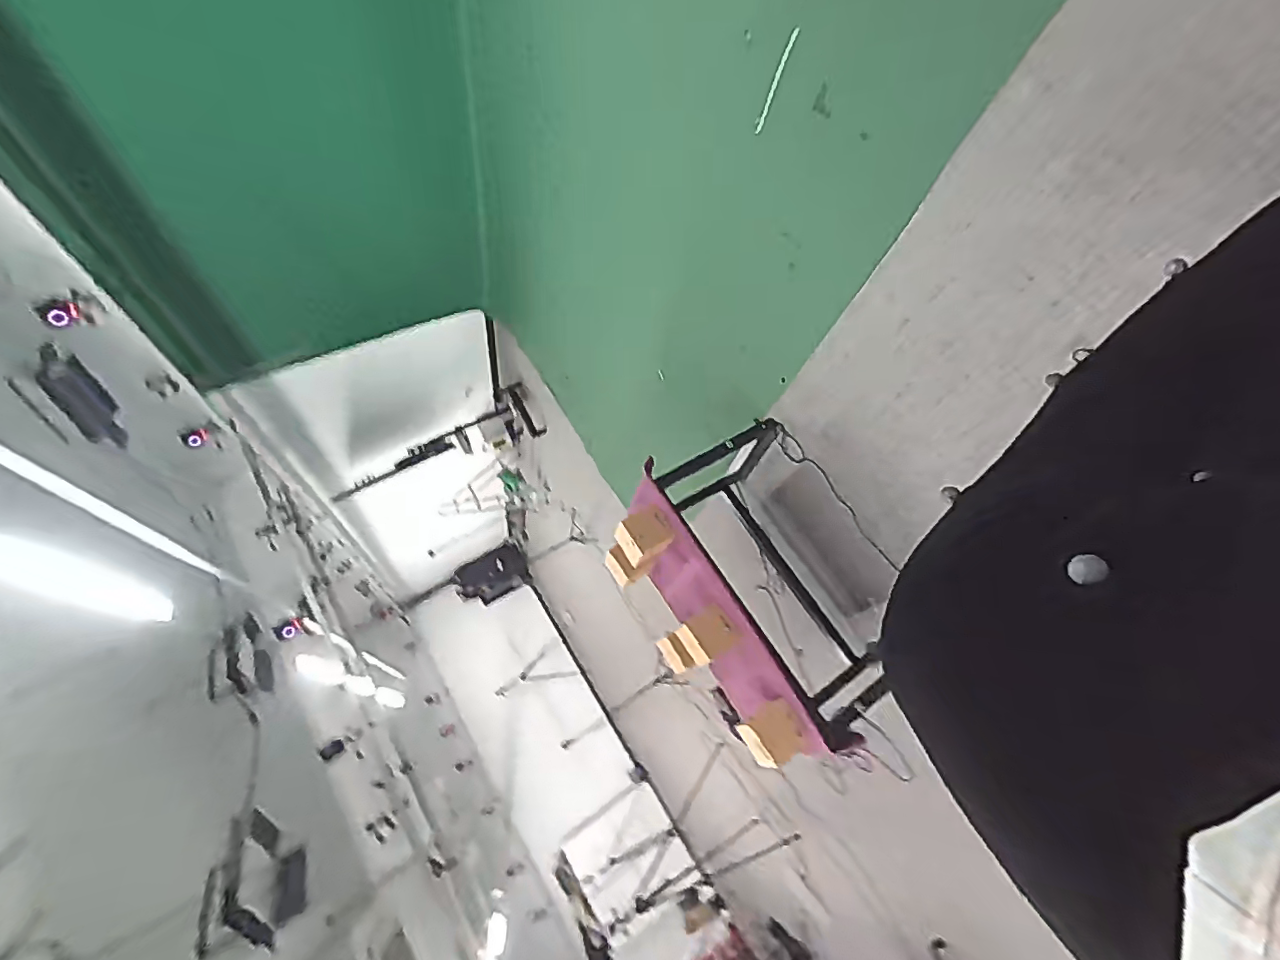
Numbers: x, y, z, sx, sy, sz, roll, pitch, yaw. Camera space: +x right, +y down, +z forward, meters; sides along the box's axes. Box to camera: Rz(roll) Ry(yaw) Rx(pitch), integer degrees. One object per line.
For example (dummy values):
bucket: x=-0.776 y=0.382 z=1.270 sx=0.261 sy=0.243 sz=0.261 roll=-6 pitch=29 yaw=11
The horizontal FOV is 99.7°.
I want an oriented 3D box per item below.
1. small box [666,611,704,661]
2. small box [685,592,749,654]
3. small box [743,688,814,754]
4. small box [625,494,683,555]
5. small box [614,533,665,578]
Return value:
small box: x=0.246 y=0.698 z=2.447 sx=0.168 sy=0.176 sz=0.179 roll=57 pitch=156 yaw=15
small box: x=0.307 y=0.570 z=2.153 sx=0.168 sy=0.176 sz=0.179 roll=55 pitch=159 yaw=16
small box: x=0.526 y=0.906 z=2.038 sx=0.168 sy=0.176 sz=0.179 roll=57 pitch=160 yaw=17
small box: x=0.058 y=0.187 z=2.262 sx=0.168 sy=0.176 sz=0.179 roll=55 pitch=157 yaw=15
small box: x=-0.002 y=0.338 z=2.578 sx=0.168 sy=0.176 sz=0.179 roll=53 pitch=156 yaw=16
